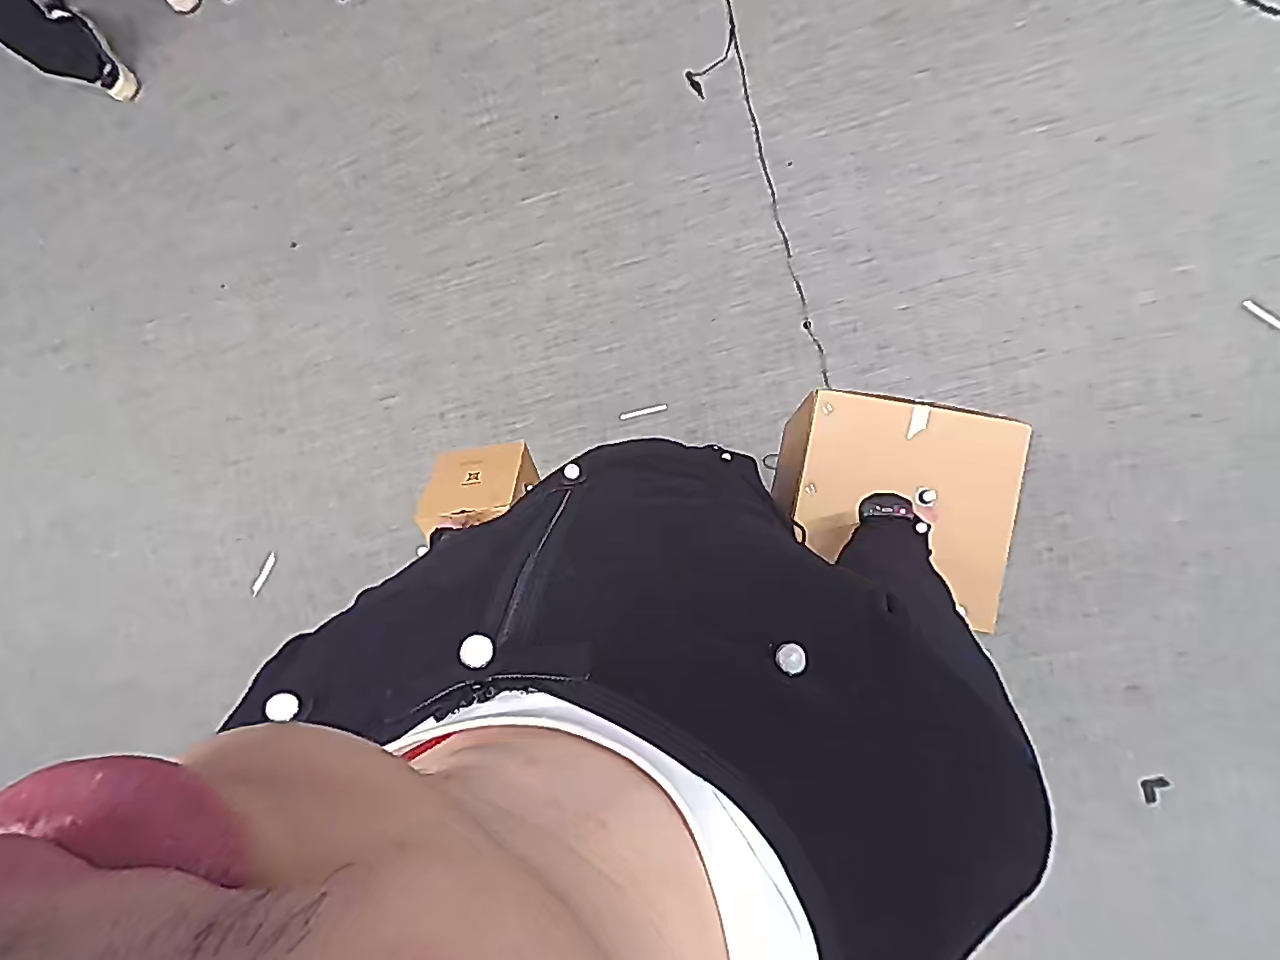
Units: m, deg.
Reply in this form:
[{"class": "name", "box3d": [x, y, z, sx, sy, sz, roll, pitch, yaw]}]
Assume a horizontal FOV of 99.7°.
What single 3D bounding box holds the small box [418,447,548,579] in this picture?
[{"class": "small box", "box3d": [-0.274, 0.066, 0.991, 0.168, 0.179, 0.176, -8, 129, 5]}]
